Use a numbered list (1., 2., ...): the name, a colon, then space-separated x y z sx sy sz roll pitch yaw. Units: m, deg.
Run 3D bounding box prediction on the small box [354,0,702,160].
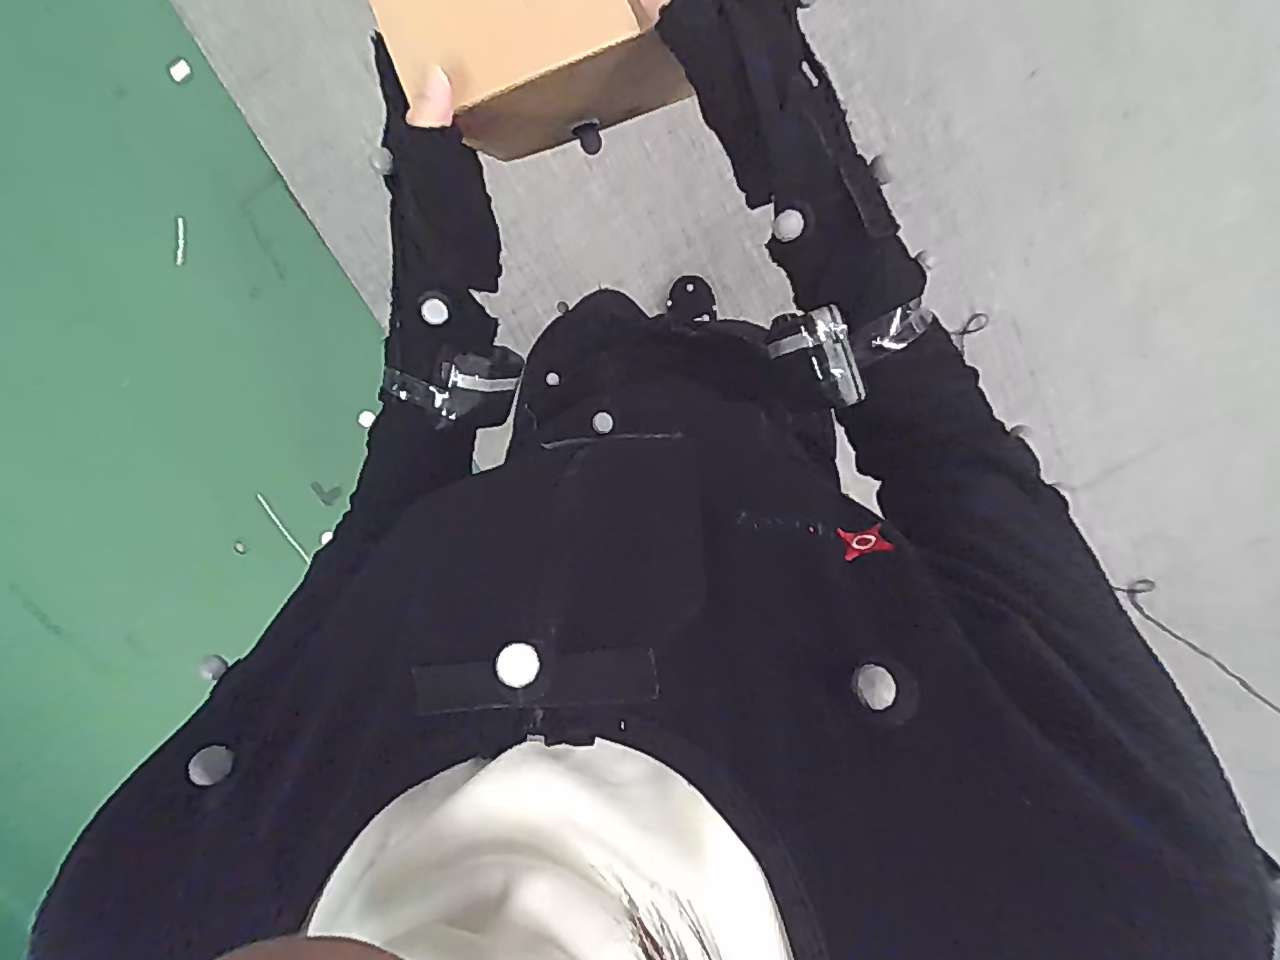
1. small box: -0.064 -0.315 0.314 0.168 0.176 0.179 -12 112 12
